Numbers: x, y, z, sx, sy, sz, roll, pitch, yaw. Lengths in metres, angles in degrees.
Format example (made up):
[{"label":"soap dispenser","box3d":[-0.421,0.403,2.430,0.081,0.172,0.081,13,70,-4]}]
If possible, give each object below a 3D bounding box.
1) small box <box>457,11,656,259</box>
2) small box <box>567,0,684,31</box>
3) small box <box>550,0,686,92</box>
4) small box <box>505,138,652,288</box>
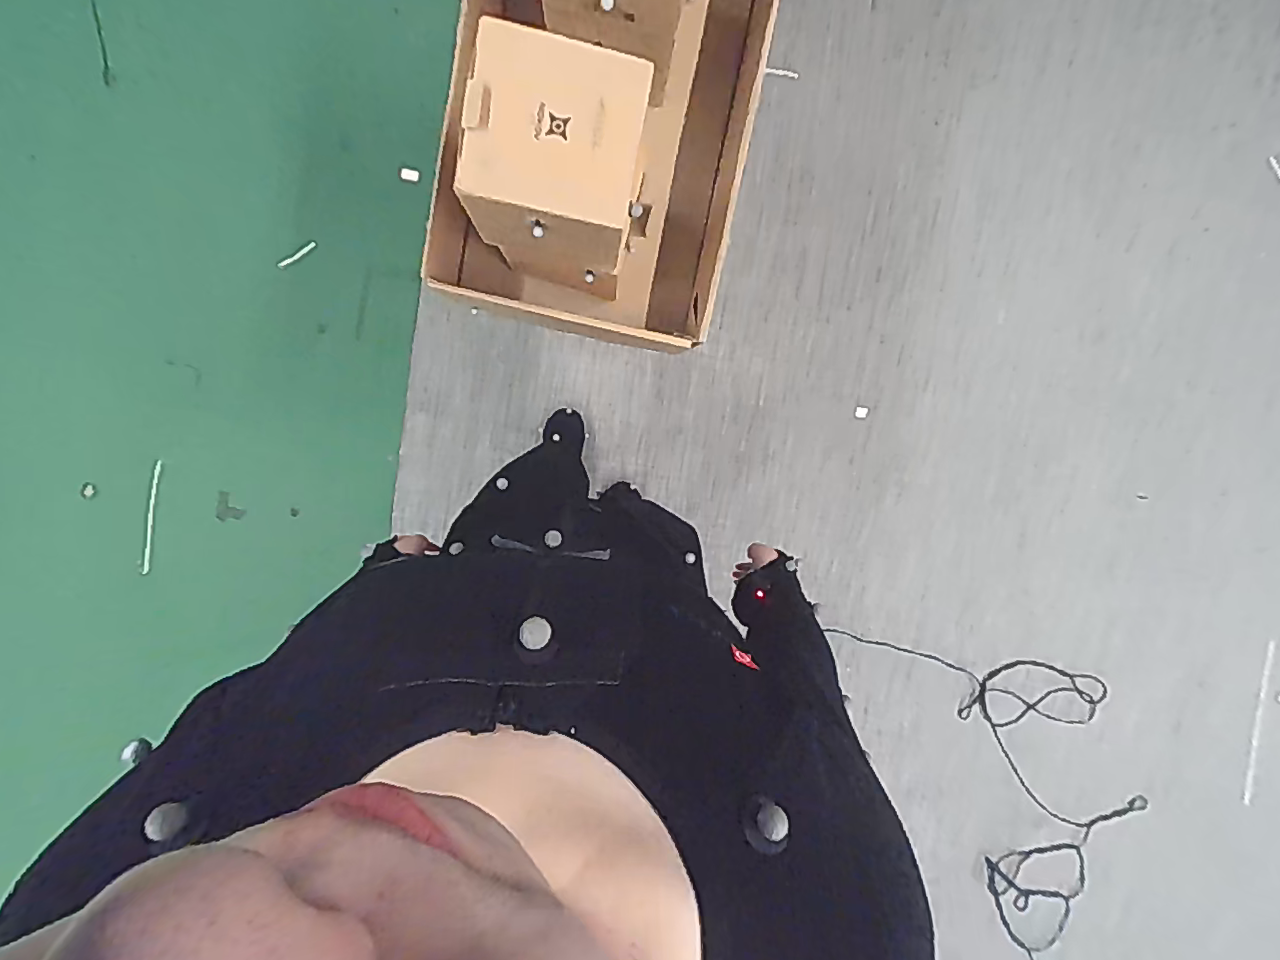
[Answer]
[{"label":"small box","box3d":[-0.091,-0.369,0.617,0.179,0.176,0.168,10,97,-8]},{"label":"small box","box3d":[-0.008,-0.648,0.580,0.168,0.176,0.179,11,99,-7]},{"label":"small box","box3d":[-0.024,-0.677,0.741,0.179,0.176,0.168,12,98,-6]},{"label":"small box","box3d":[-0.095,-0.392,0.777,0.179,0.176,0.168,14,96,-7]}]
